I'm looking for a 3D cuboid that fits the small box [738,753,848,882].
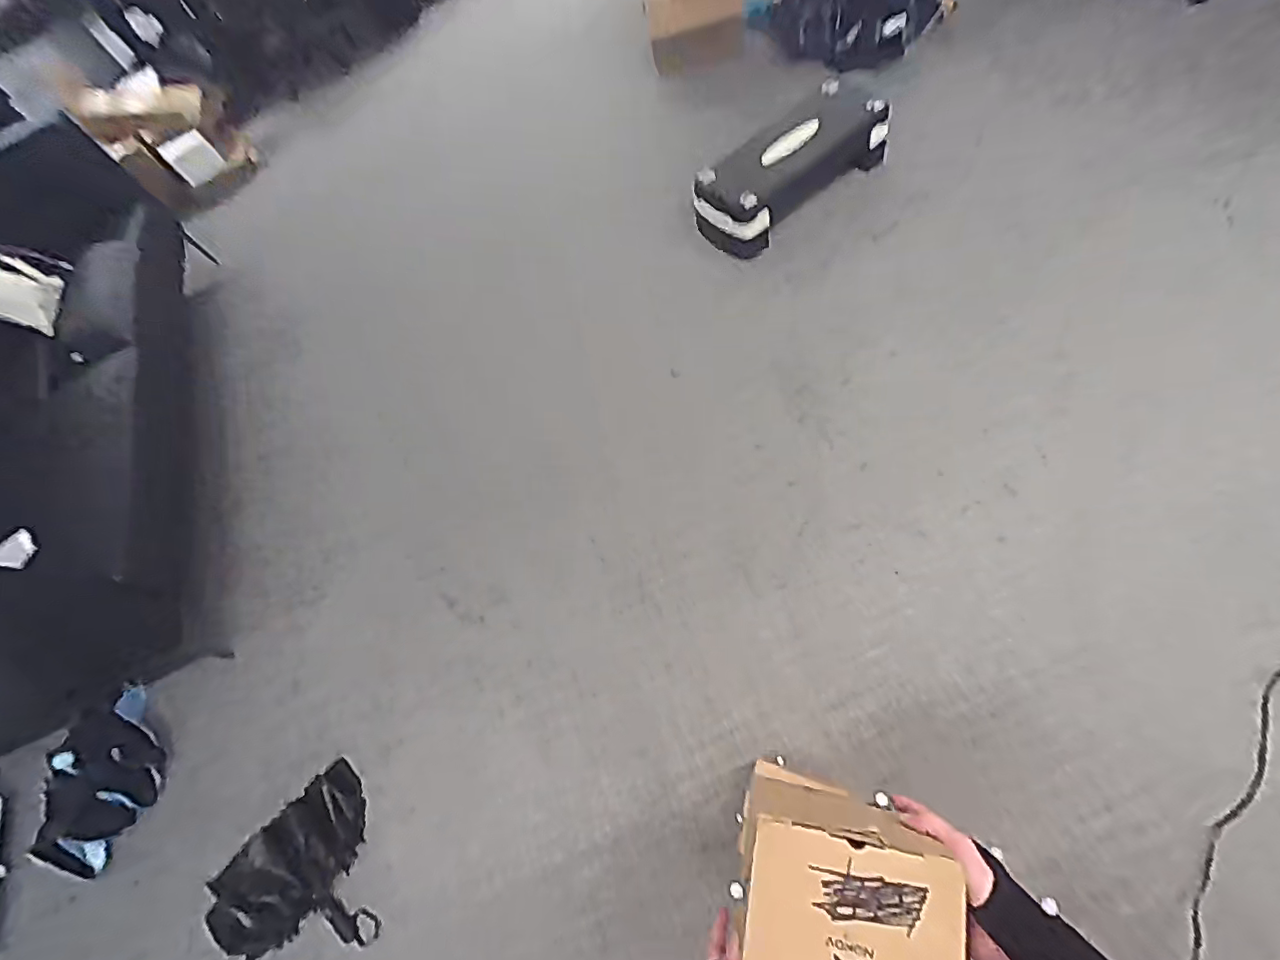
[{"bbox_3d":[0.307,0.669,1.093,0.179,0.176,0.168,11,69,19],"label":"small box"}]
